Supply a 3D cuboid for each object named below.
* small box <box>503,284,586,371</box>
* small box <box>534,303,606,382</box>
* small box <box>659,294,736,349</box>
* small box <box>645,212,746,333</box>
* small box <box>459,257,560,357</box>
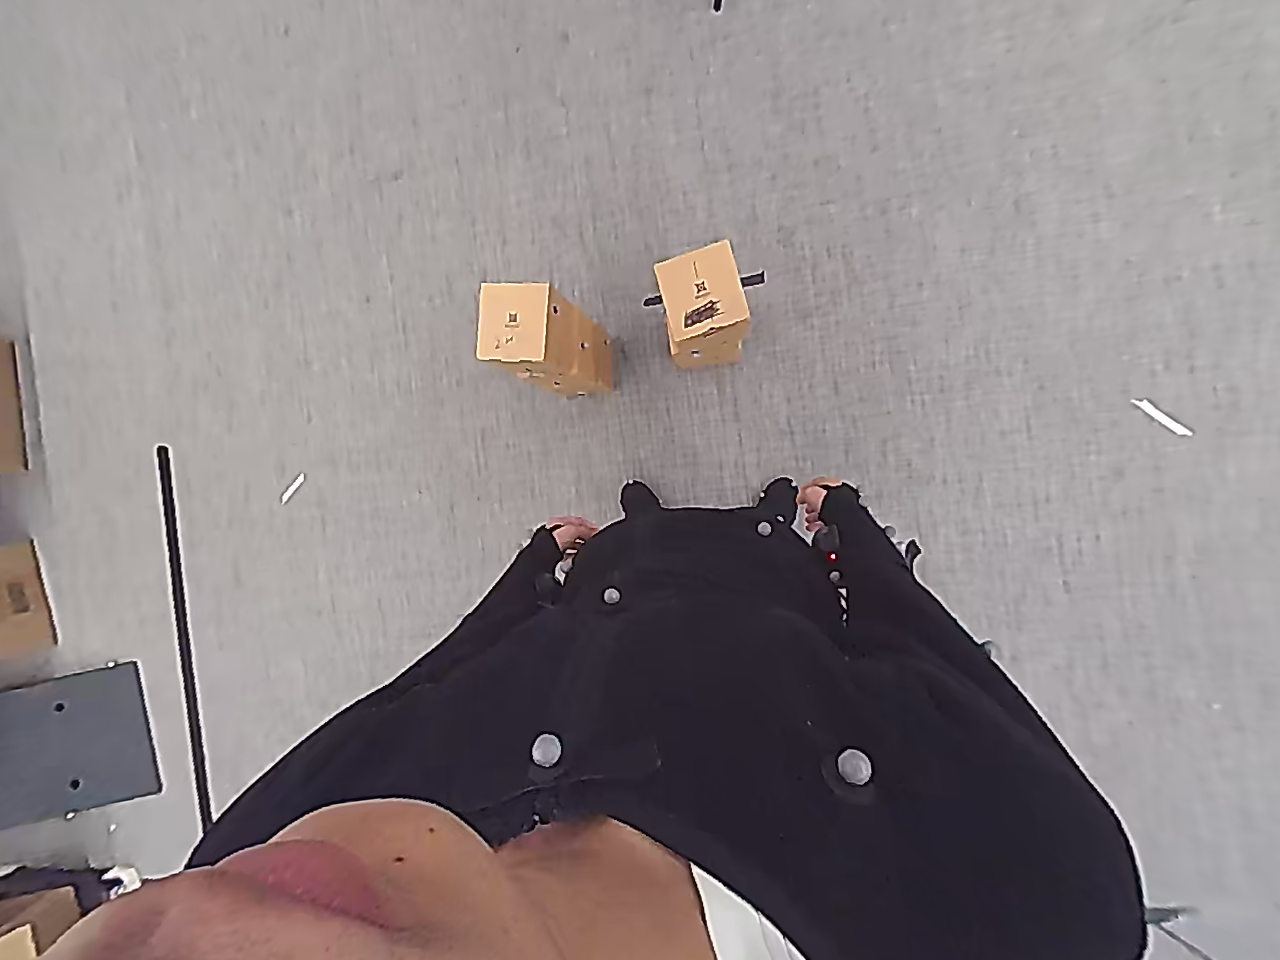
[{"bbox_3d":[-0.239,-0.379,1.372,0.168,0.176,0.179,-2,92,11],"label":"small box"},{"bbox_3d":[-0.199,-0.381,1.527,0.168,0.176,0.179,-4,91,12],"label":"small box"},{"bbox_3d":[0.136,-0.432,1.302,0.168,0.176,0.179,-8,90,10],"label":"small box"},{"bbox_3d":[0.123,-0.421,1.137,0.168,0.176,0.179,-16,90,9],"label":"small box"},{"bbox_3d":[-0.286,-0.382,1.213,0.168,0.176,0.179,4,93,11],"label":"small box"}]
